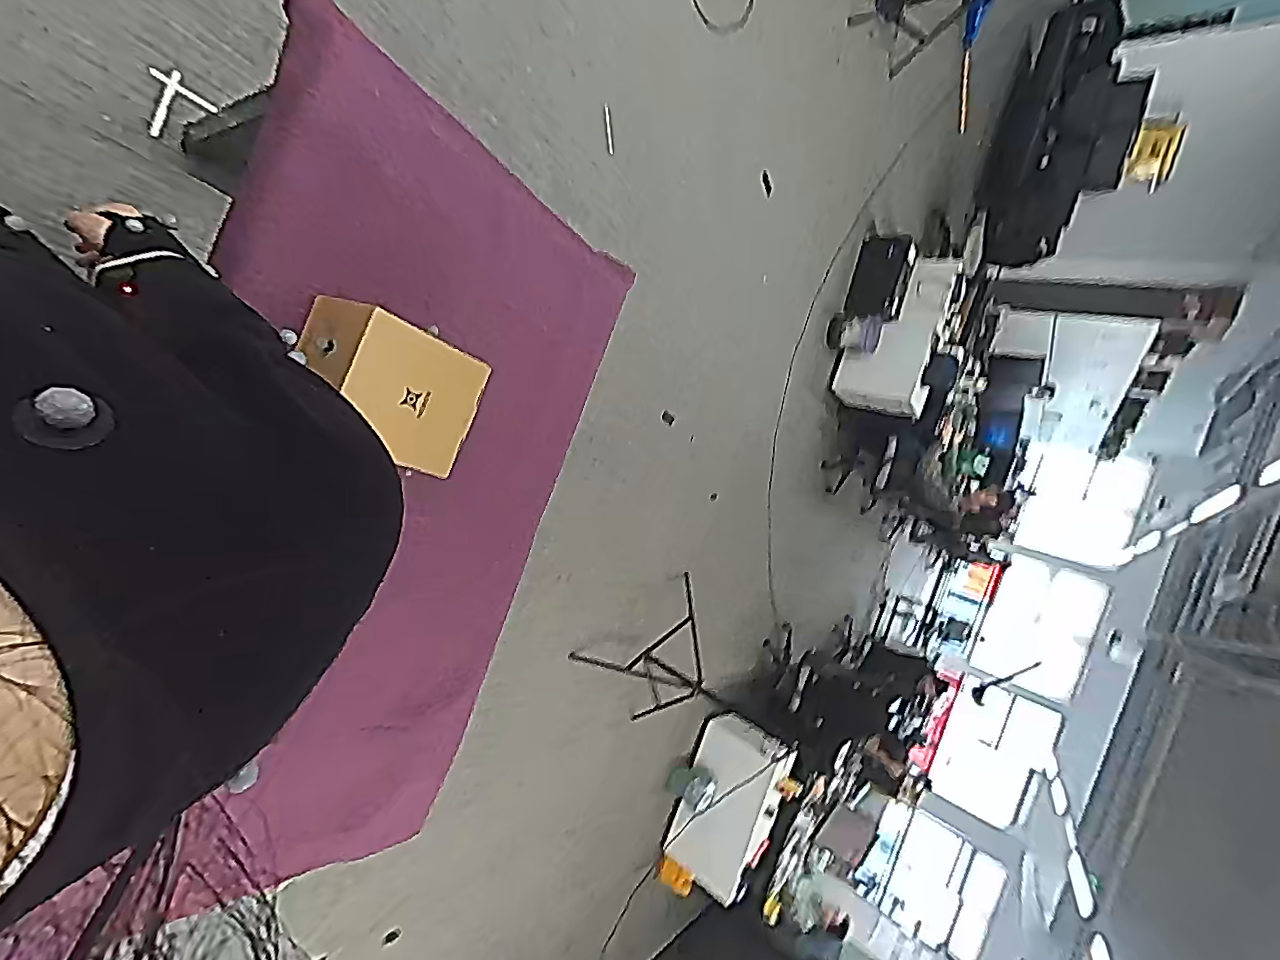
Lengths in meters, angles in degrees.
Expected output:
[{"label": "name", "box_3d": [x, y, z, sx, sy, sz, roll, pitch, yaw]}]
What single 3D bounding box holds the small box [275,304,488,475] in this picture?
[{"label": "small box", "box_3d": [-0.347, -0.122, 0.727, 0.179, 0.176, 0.168, 24, 86, -55]}]
